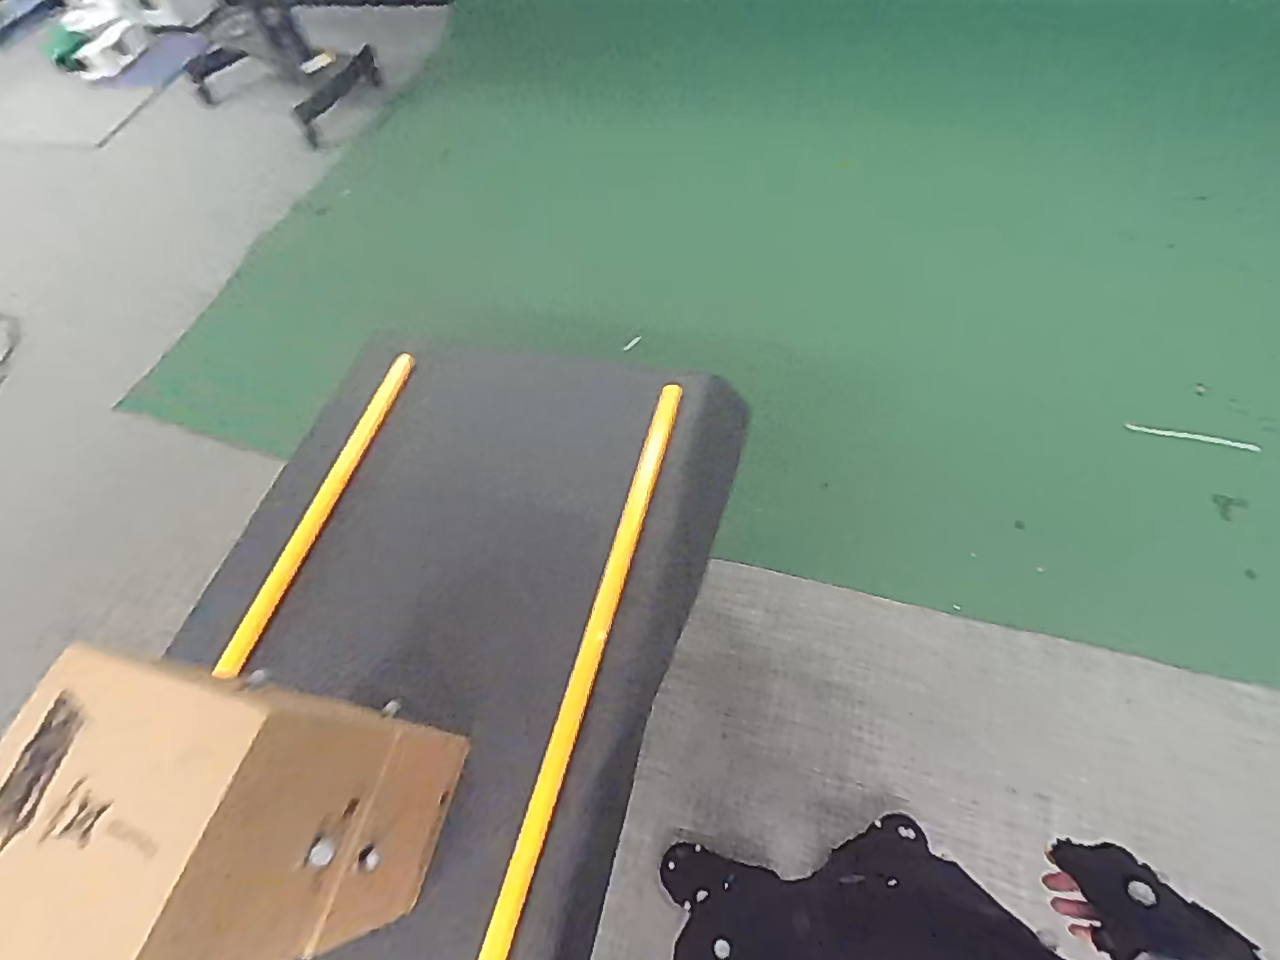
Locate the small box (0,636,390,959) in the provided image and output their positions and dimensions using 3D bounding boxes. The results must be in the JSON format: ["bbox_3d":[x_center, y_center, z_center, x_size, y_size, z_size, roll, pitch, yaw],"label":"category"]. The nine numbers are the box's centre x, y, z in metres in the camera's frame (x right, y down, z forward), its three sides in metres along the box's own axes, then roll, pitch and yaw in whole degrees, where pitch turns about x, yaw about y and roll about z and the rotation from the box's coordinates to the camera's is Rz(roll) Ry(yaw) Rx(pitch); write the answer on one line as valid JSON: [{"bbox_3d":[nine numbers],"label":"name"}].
[{"bbox_3d":[-0.331,0.233,0.400,0.179,0.176,0.168,11,64,12],"label":"small box"}]

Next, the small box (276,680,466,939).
[{"bbox_3d":[-0.309,0.313,0.543,0.179,0.176,0.168,9,64,12],"label":"small box"}]
